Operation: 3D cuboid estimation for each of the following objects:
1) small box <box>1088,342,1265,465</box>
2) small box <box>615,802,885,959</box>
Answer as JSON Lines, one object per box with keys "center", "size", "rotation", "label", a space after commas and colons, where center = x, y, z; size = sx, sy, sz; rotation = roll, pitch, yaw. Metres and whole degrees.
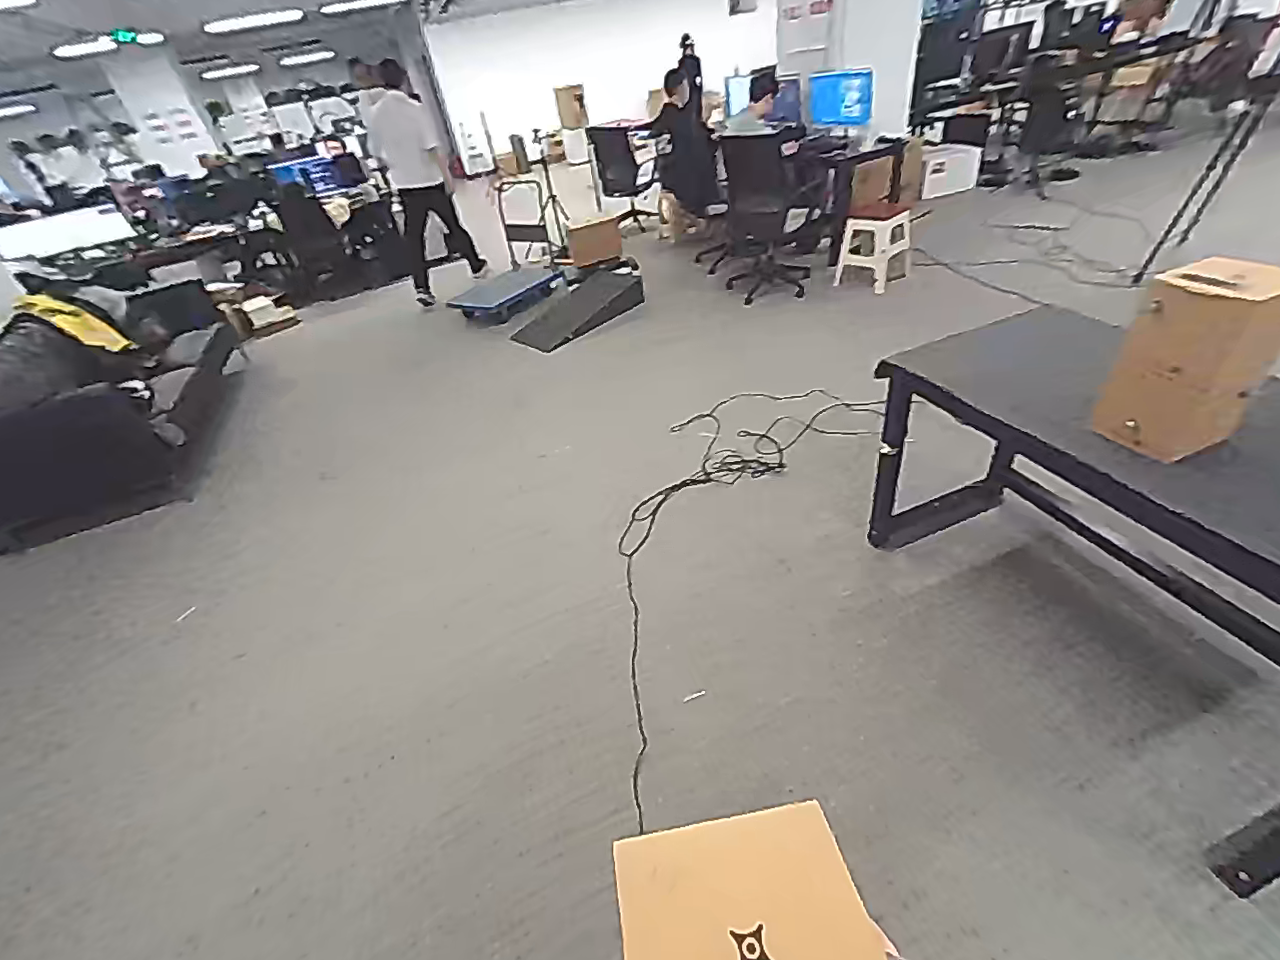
{"center": [1.083, -0.157, 1.111], "size": [0.179, 0.176, 0.168], "rotation": [-19, 38, -12], "label": "small box"}
{"center": [0.077, 0.376, 0.386], "size": [0.168, 0.176, 0.179], "rotation": [-9, 29, -6], "label": "small box"}
